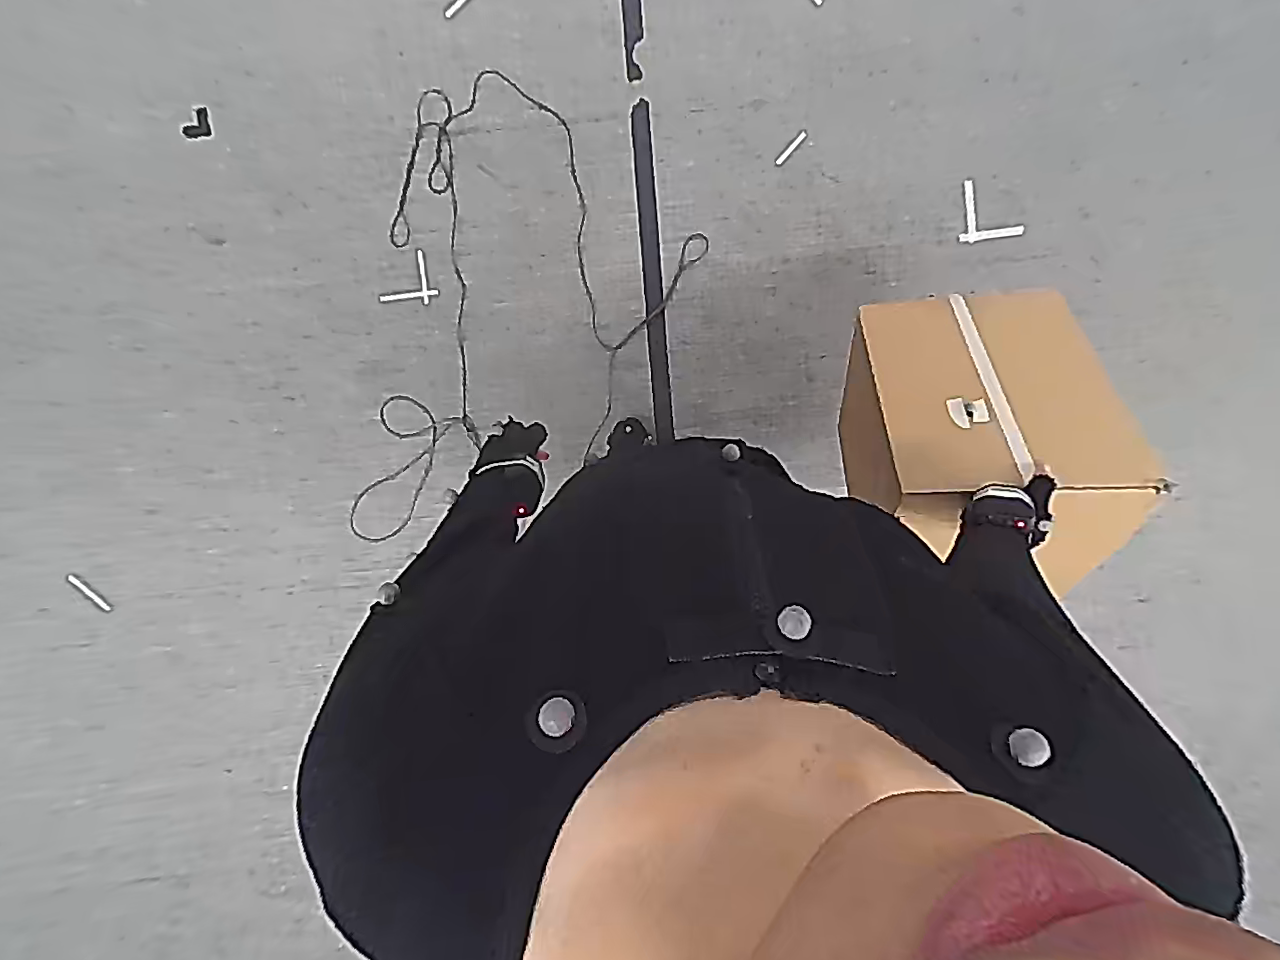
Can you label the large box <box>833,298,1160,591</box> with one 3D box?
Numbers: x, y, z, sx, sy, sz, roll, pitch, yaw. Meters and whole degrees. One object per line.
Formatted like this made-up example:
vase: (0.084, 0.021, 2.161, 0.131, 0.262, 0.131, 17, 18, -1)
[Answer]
large box: (0.540, -0.054, 0.937, 0.320, 0.320, 0.408, -3, 54, 11)
